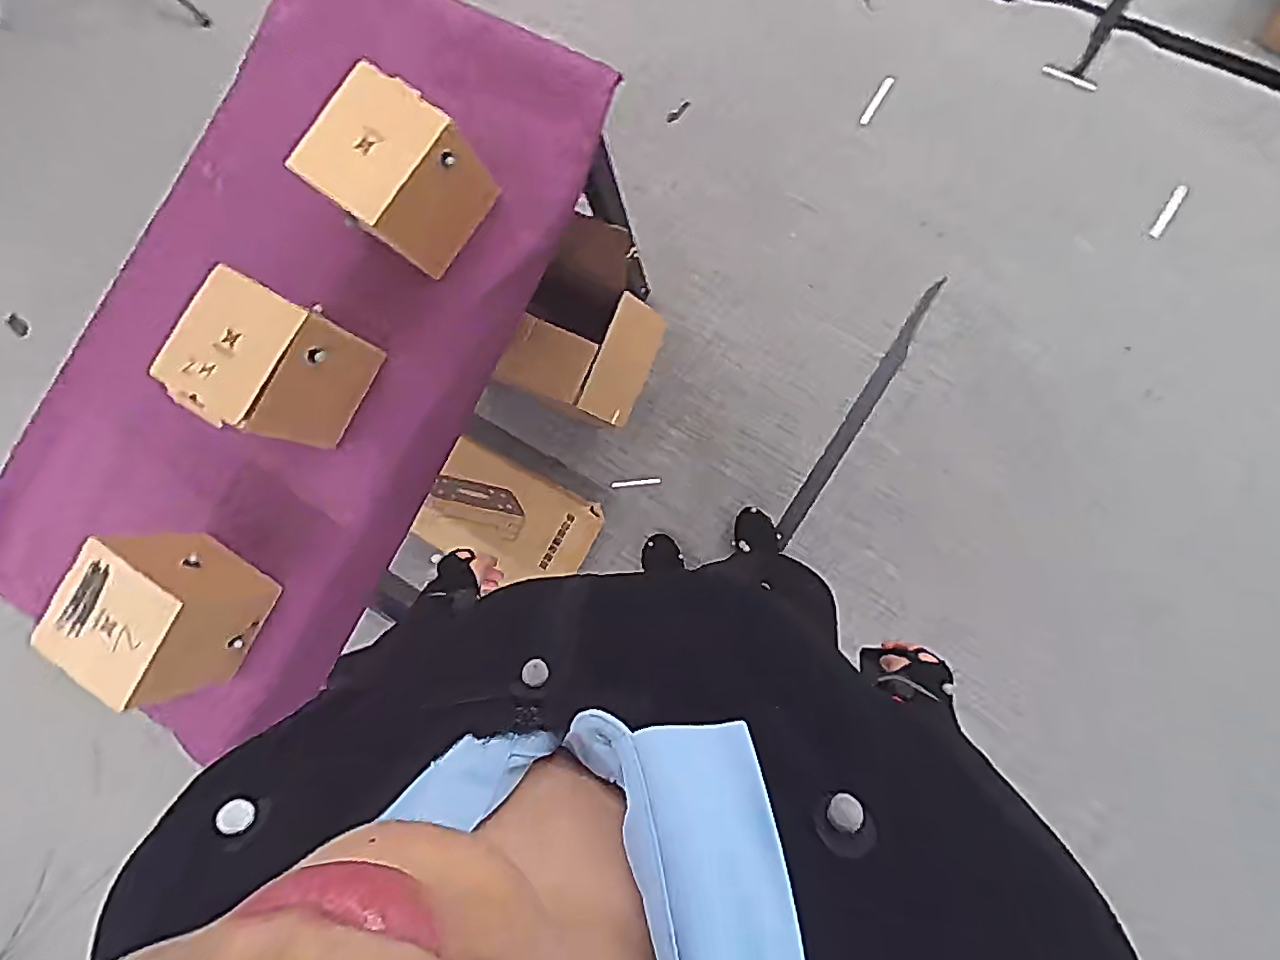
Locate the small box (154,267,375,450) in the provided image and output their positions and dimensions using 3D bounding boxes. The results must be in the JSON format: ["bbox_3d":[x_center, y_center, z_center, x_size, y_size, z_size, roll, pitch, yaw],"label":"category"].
[{"bbox_3d":[-0.523,-0.164,0.783,0.168,0.176,0.179,29,90,11],"label":"small box"}]

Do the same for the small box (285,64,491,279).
[{"bbox_3d":[-0.348,-0.429,0.783,0.168,0.176,0.179,36,90,9],"label":"small box"}]
